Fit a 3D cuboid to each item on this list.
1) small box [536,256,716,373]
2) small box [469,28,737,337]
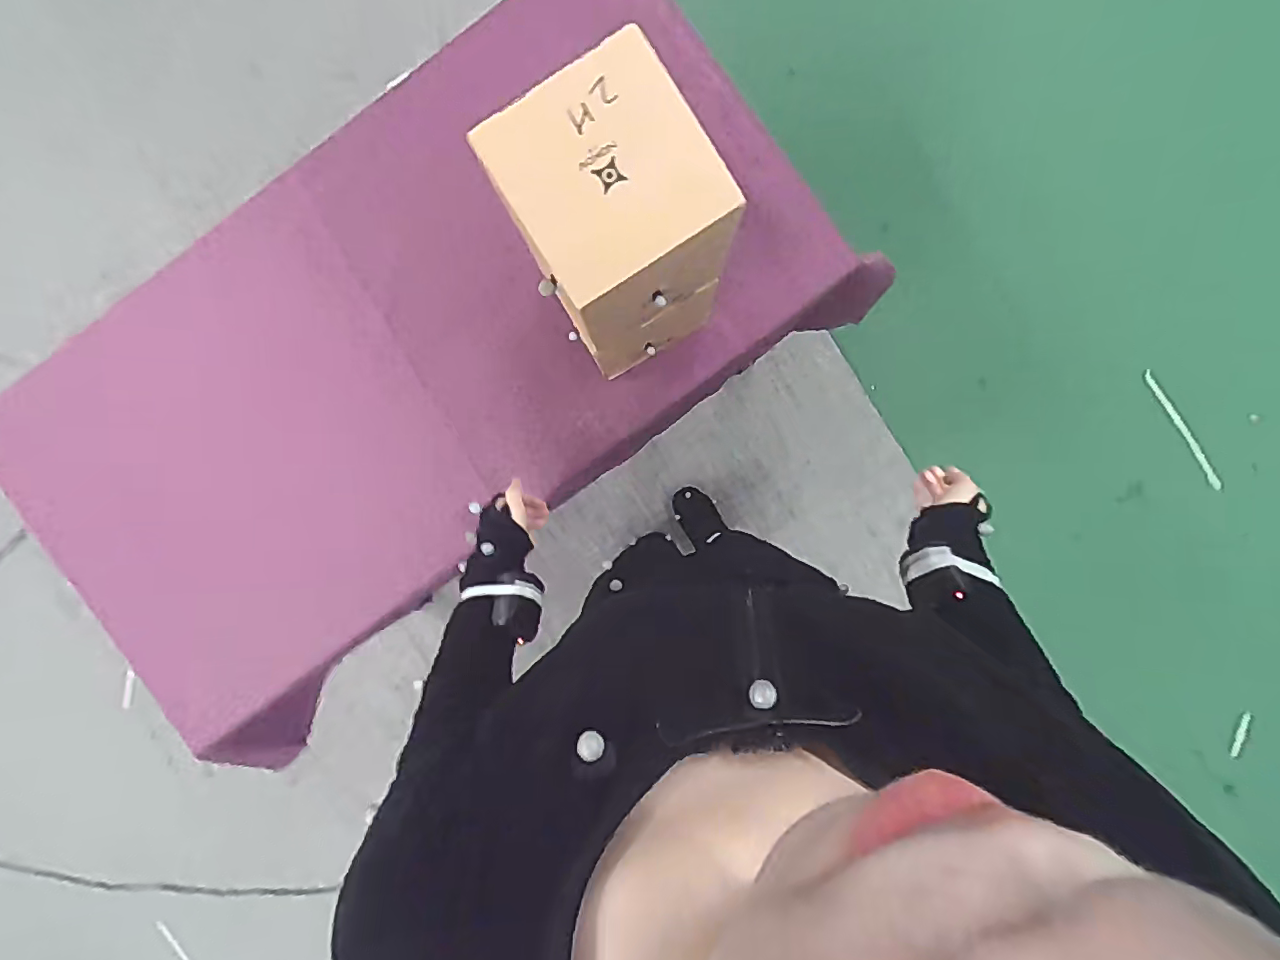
[{"bbox_3d":[-0.024,-0.261,0.692,0.168,0.176,0.179,-31,90,2],"label":"small box"},{"bbox_3d":[-0.028,-0.259,0.526,0.168,0.176,0.179,-32,89,1],"label":"small box"}]
